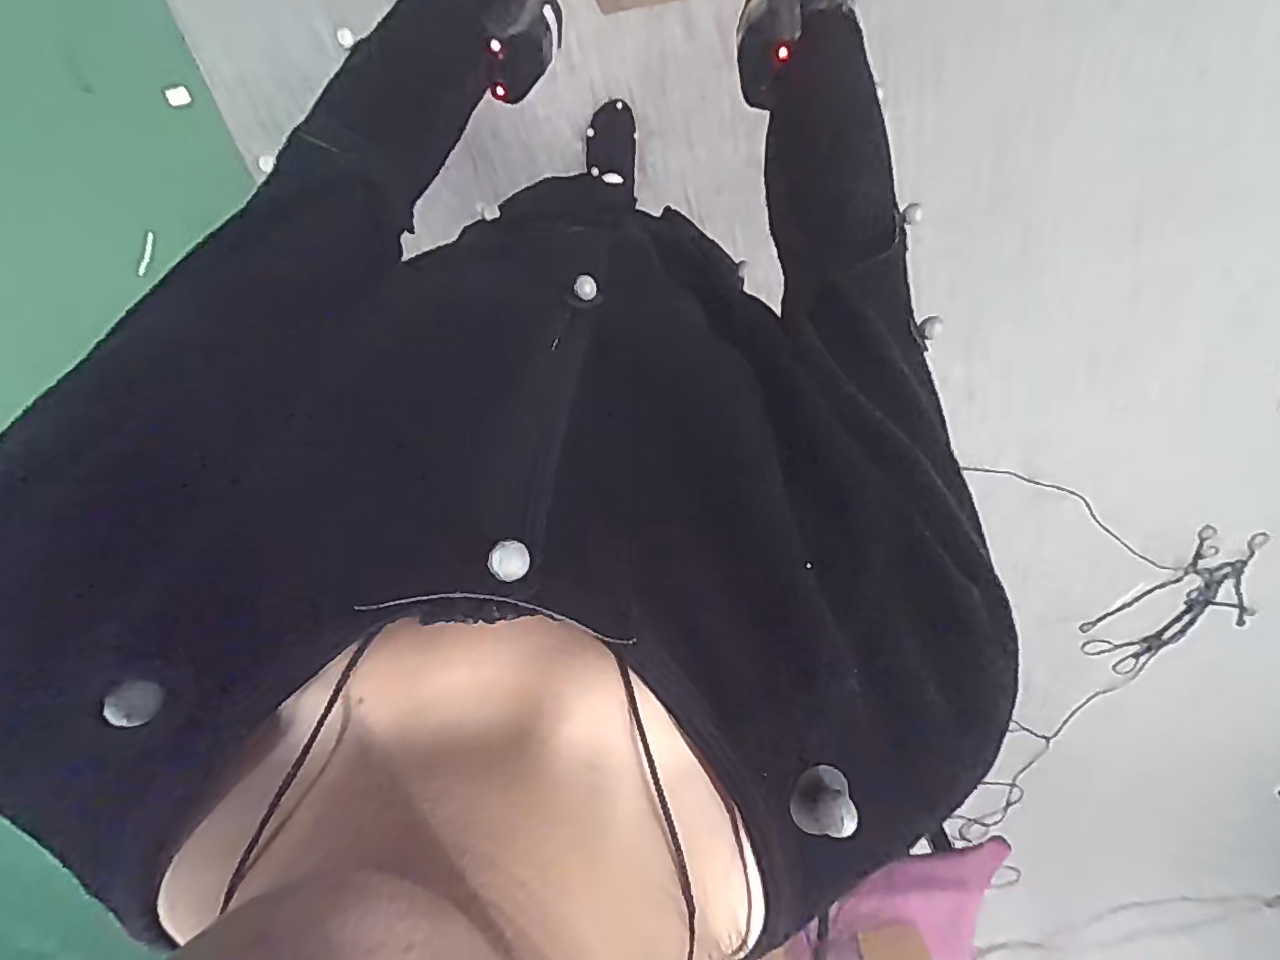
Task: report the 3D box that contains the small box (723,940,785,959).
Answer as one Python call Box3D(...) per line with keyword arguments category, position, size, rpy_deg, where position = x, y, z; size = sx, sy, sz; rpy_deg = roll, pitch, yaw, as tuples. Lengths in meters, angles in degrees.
Box3D(category="small box", position=(0.327, 1.398, 1.476), size=(0.168, 0.176, 0.179), rpy_deg=(-10, 118, 4))

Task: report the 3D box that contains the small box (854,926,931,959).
Box3D(category="small box", position=(0.698, 1.334, 1.449), size=(0.179, 0.176, 0.168), rpy_deg=(-15, 117, 8))
